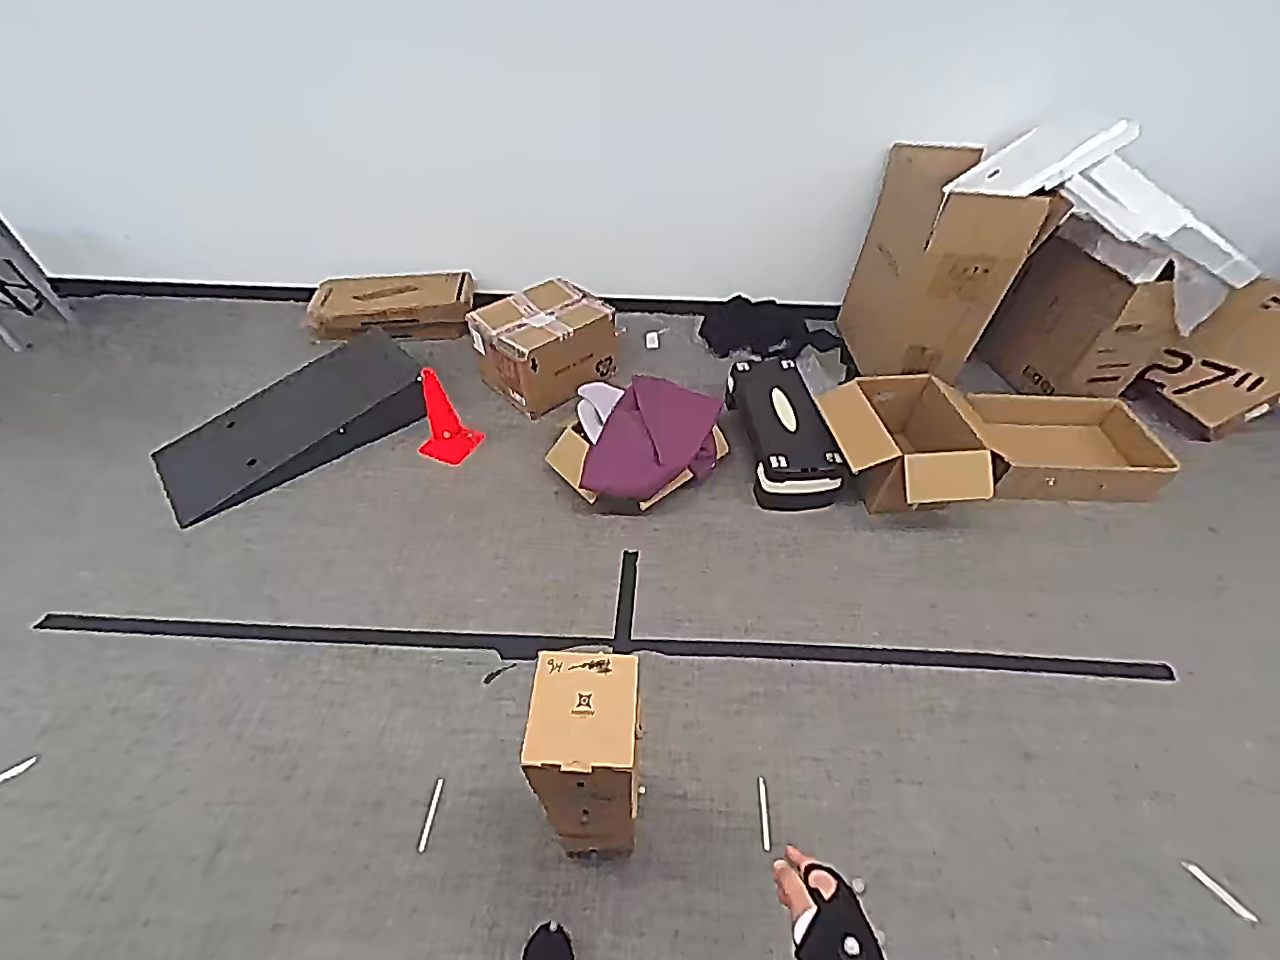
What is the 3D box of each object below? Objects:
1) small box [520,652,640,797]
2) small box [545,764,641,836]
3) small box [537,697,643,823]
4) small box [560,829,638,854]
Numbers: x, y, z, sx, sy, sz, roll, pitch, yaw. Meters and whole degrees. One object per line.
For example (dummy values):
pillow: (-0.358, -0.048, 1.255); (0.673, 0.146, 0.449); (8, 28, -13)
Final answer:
small box: (-0.086, 0.402, 0.884); (0.168, 0.176, 0.179); (2, 47, 2)
small box: (-0.089, 0.627, 1.124); (0.179, 0.176, 0.168); (2, 47, 1)
small box: (-0.084, 0.513, 1.005); (0.168, 0.176, 0.179); (4, 47, 4)
small box: (-0.090, 0.740, 1.244); (0.168, 0.176, 0.179); (-2, 48, -1)
